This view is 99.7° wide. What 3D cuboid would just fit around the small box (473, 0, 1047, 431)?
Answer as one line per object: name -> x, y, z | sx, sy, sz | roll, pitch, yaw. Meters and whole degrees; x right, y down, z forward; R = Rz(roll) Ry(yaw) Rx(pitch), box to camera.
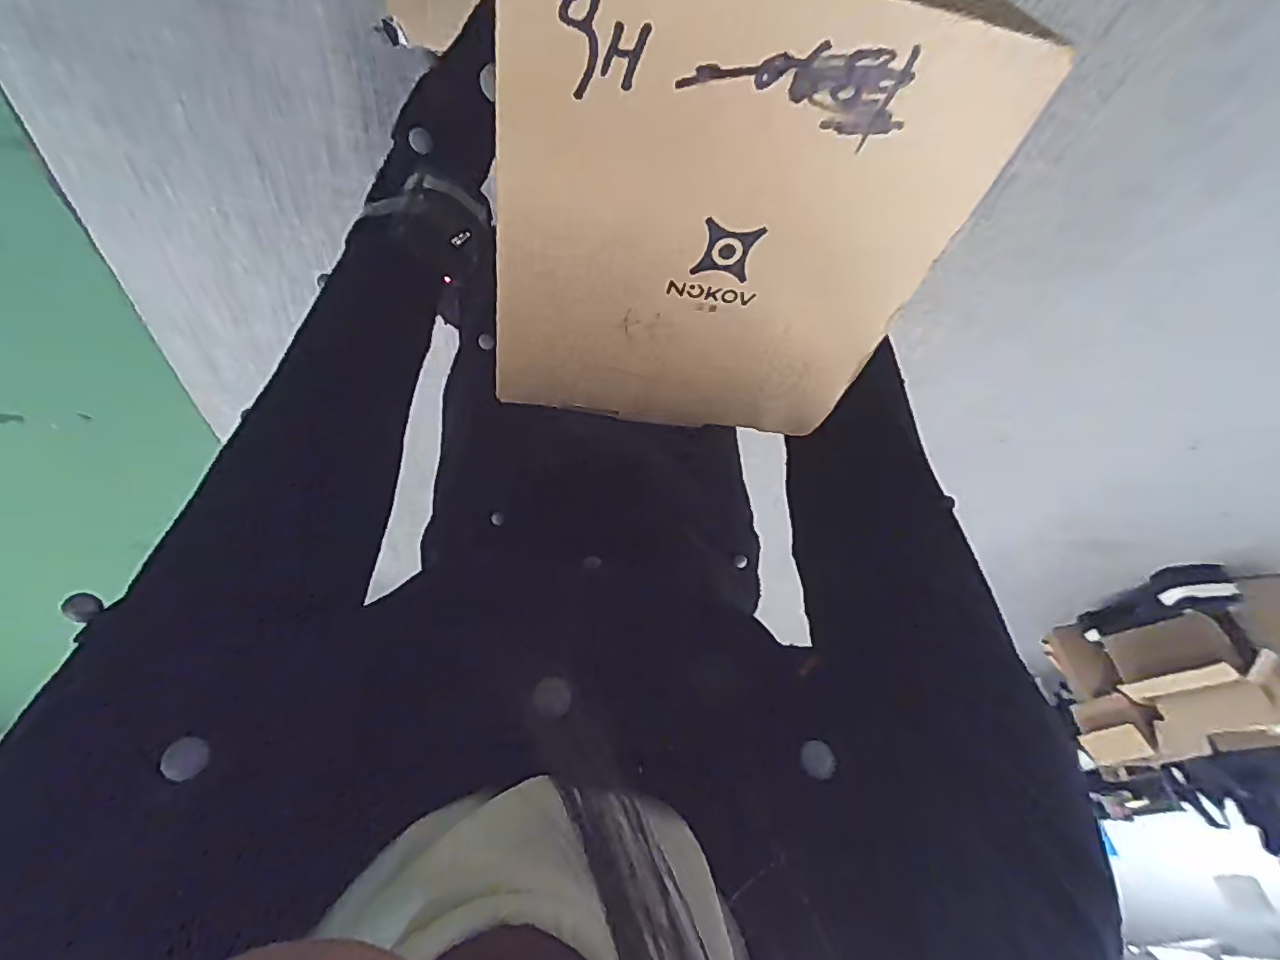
small box -> 0.021, -0.148, 0.253 | 0.168, 0.176, 0.179 | 4, 145, -10
